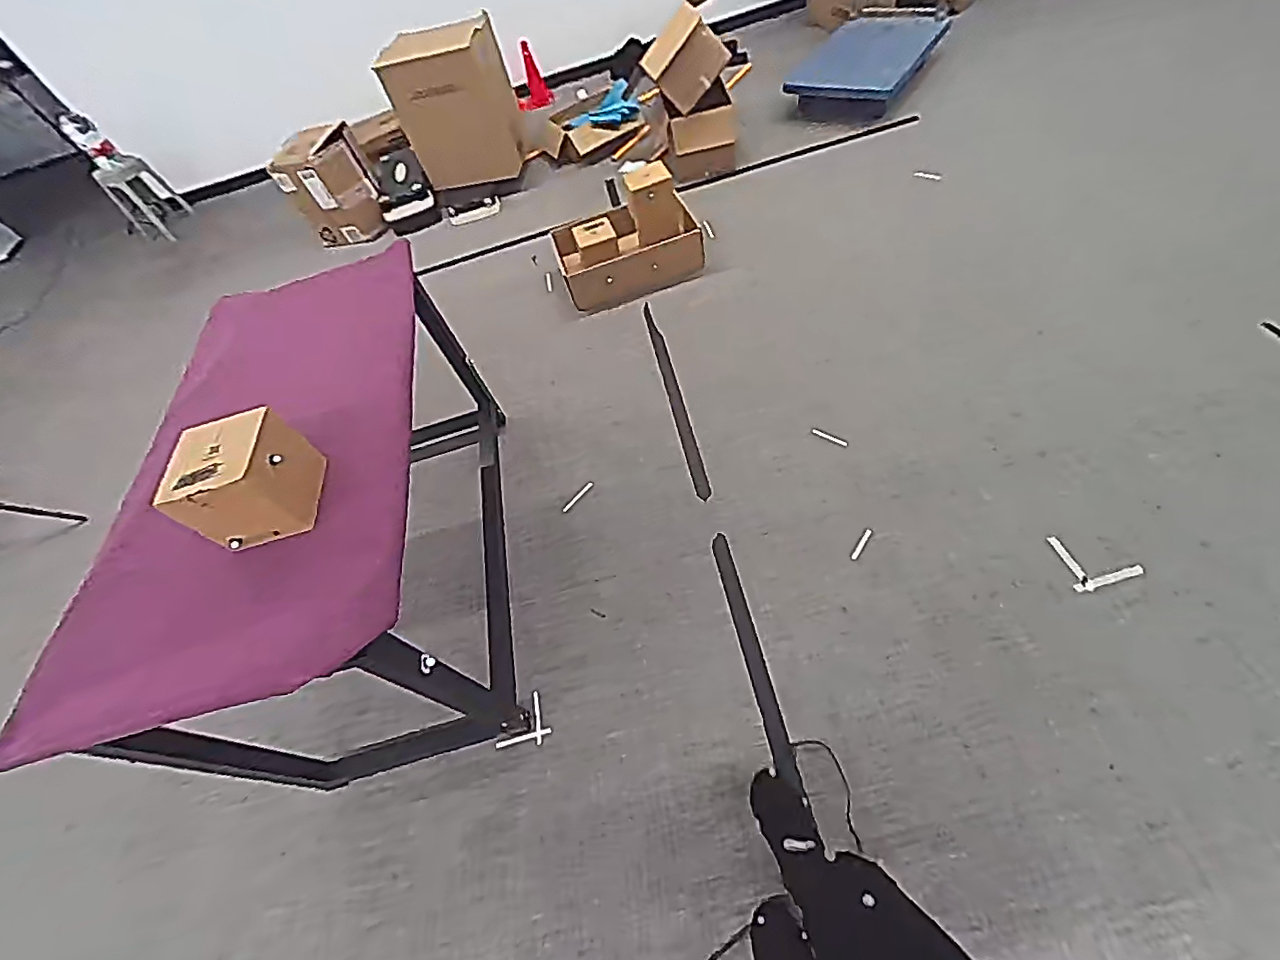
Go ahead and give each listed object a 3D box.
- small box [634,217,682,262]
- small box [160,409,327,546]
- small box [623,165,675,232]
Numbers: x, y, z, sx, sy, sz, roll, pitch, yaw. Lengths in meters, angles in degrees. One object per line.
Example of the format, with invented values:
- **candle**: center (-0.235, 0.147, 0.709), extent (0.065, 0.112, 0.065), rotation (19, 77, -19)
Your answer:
- **small box**: center (0.080, -1.099, 2.419), extent (0.168, 0.176, 0.179), rotation (-19, 52, 1)
- **small box**: center (-0.716, 0.005, 1.002), extent (0.168, 0.176, 0.179), rotation (-16, 53, 3)
- **small box**: center (0.044, -1.187, 2.287), extent (0.179, 0.176, 0.168), rotation (-20, 53, 1)
